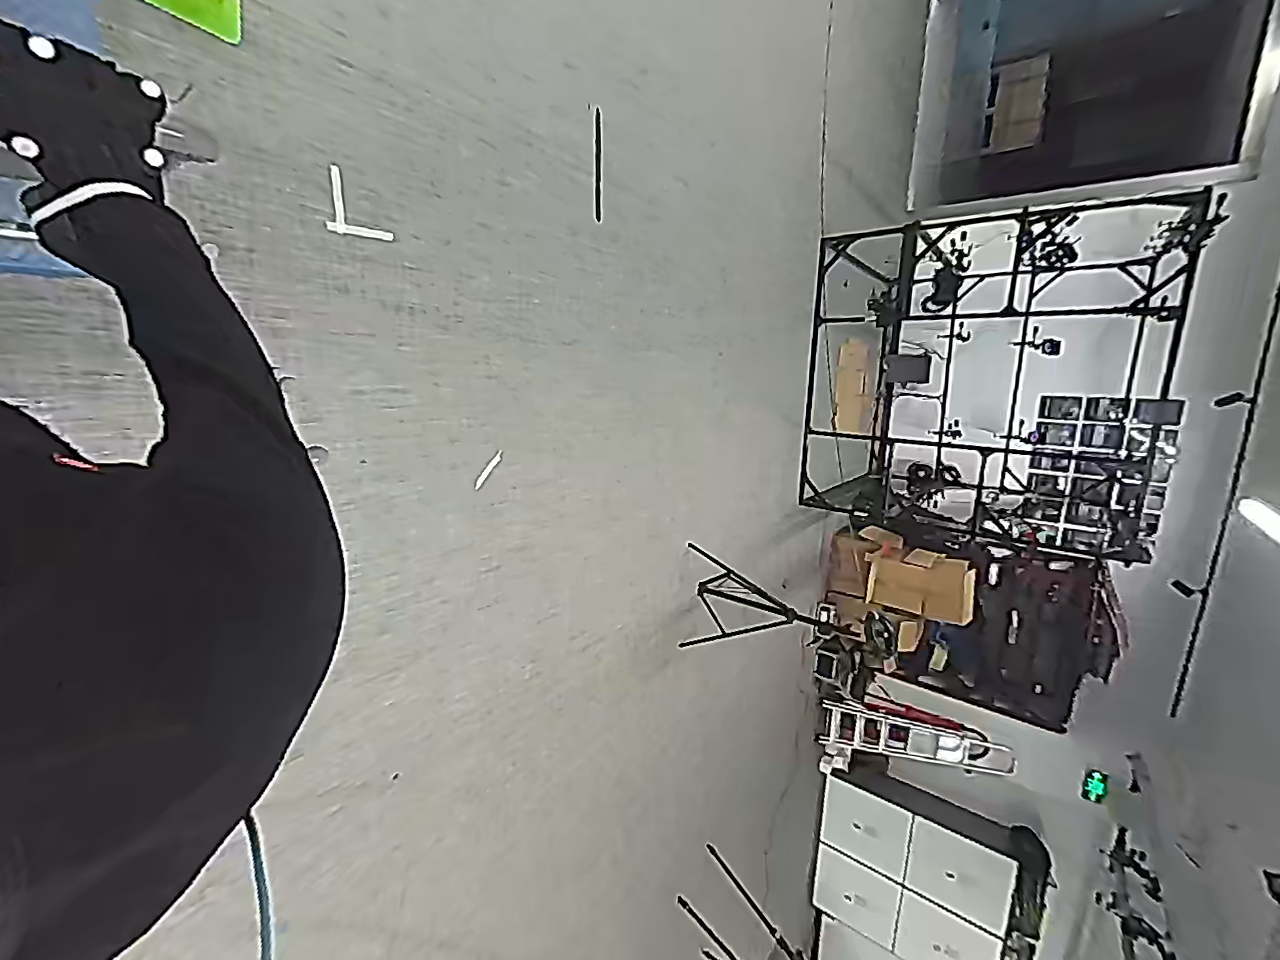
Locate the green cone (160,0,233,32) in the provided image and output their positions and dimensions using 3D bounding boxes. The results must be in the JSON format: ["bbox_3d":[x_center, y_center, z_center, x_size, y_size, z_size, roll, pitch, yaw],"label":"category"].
[{"bbox_3d":[-0.788,-1.019,0.972,0.202,0.368,0.200,-7,104,-54],"label":"green cone"}]
